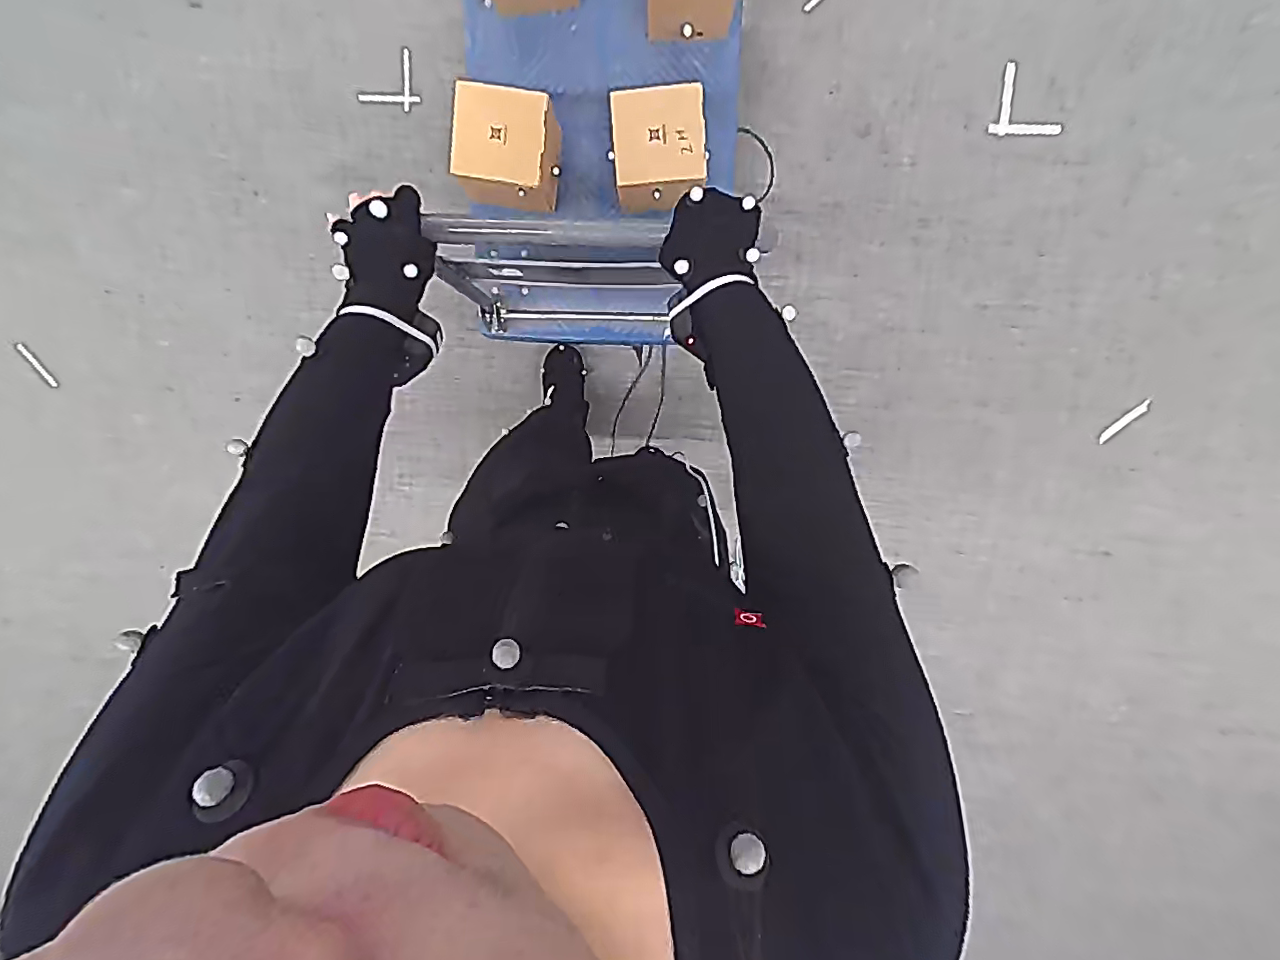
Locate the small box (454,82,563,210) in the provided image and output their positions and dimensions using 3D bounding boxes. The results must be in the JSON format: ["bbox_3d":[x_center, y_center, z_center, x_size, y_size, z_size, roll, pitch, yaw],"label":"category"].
[{"bbox_3d":[-0.264,-0.674,1.110,0.179,0.176,0.168,7,100,-2],"label":"small box"}]

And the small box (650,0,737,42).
[{"bbox_3d":[0.101,-0.997,1.044,0.168,0.176,0.179,-1,101,2],"label":"small box"}]

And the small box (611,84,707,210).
[{"bbox_3d":[0.040,-0.667,1.104,0.179,0.176,0.168,-4,100,2],"label":"small box"}]
